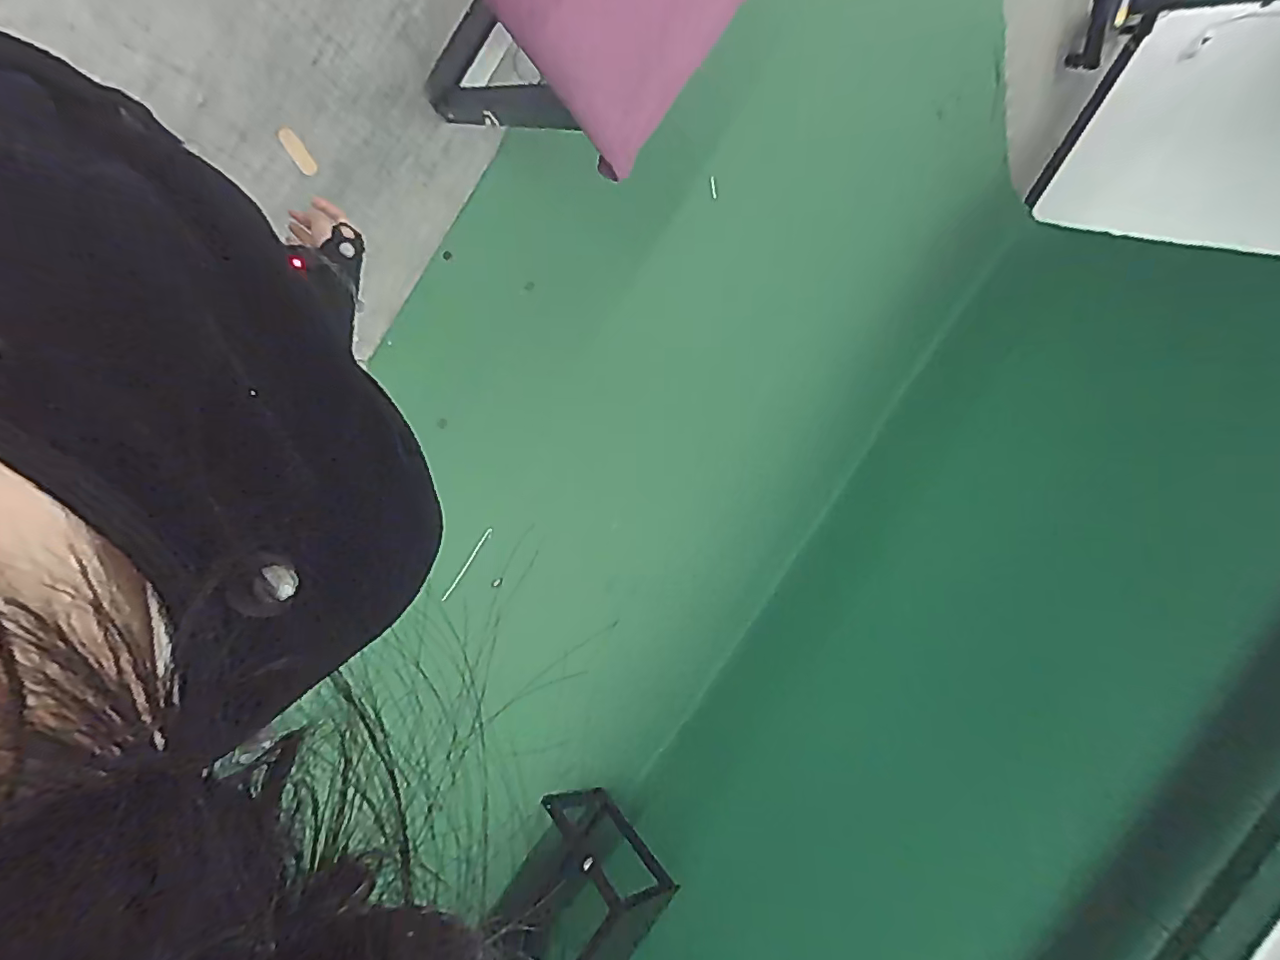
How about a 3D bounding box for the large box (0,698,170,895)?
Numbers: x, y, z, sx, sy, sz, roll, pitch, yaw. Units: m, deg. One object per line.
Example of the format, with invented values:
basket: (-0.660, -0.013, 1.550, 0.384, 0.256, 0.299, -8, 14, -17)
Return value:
large box: (-1.413, 0.774, 1.274, 0.408, 0.320, 0.320, 8, 112, -49)
